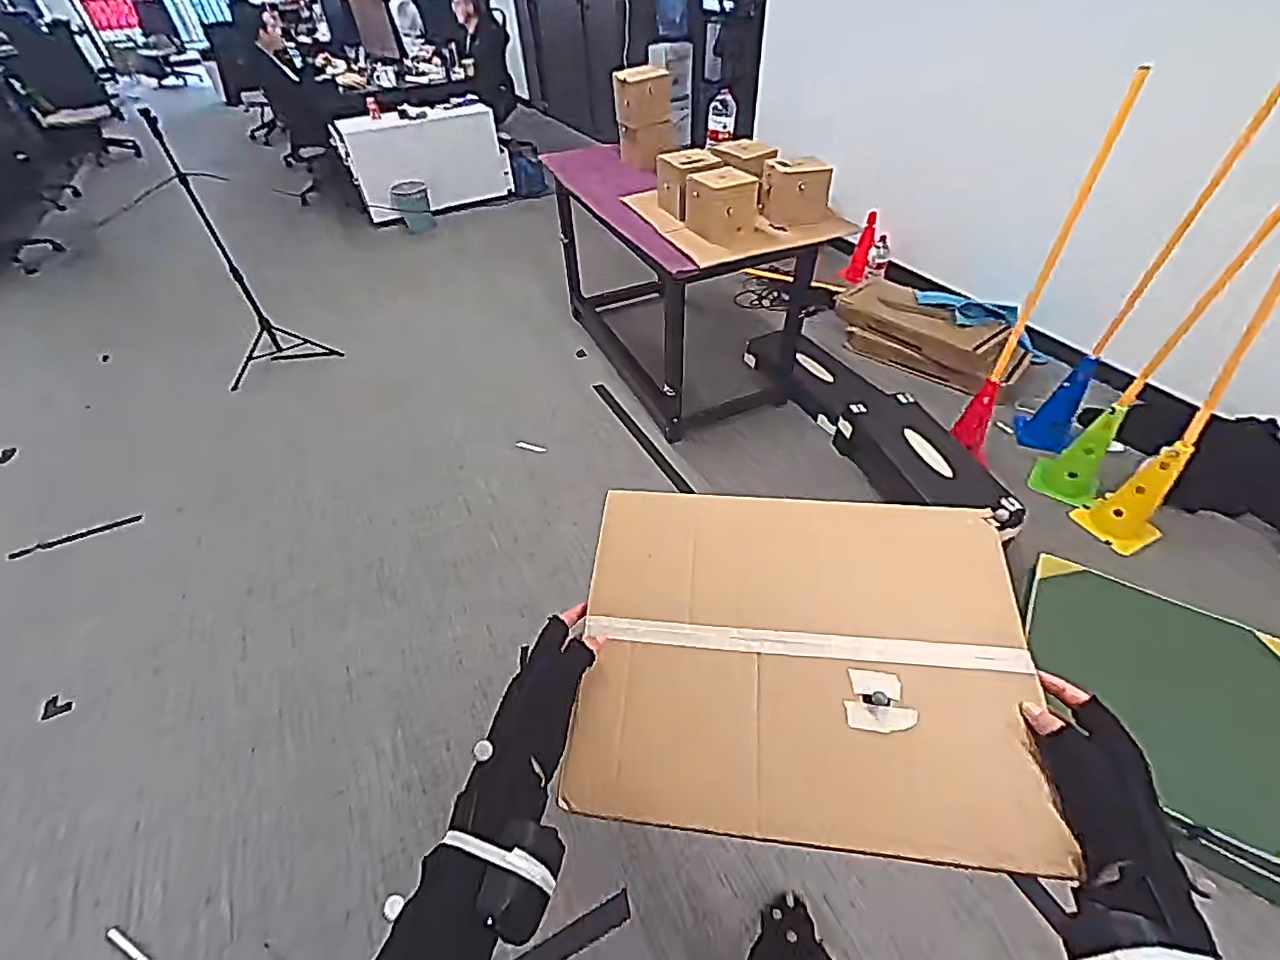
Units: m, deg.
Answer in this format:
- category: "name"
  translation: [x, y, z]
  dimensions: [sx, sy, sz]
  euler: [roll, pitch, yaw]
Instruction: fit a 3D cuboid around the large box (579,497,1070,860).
- category: "large box"
  translation: [0.167, 0.236, 0.647]
  dimensions: [0.408, 0.320, 0.320]
  euler: [3, 59, 8]
